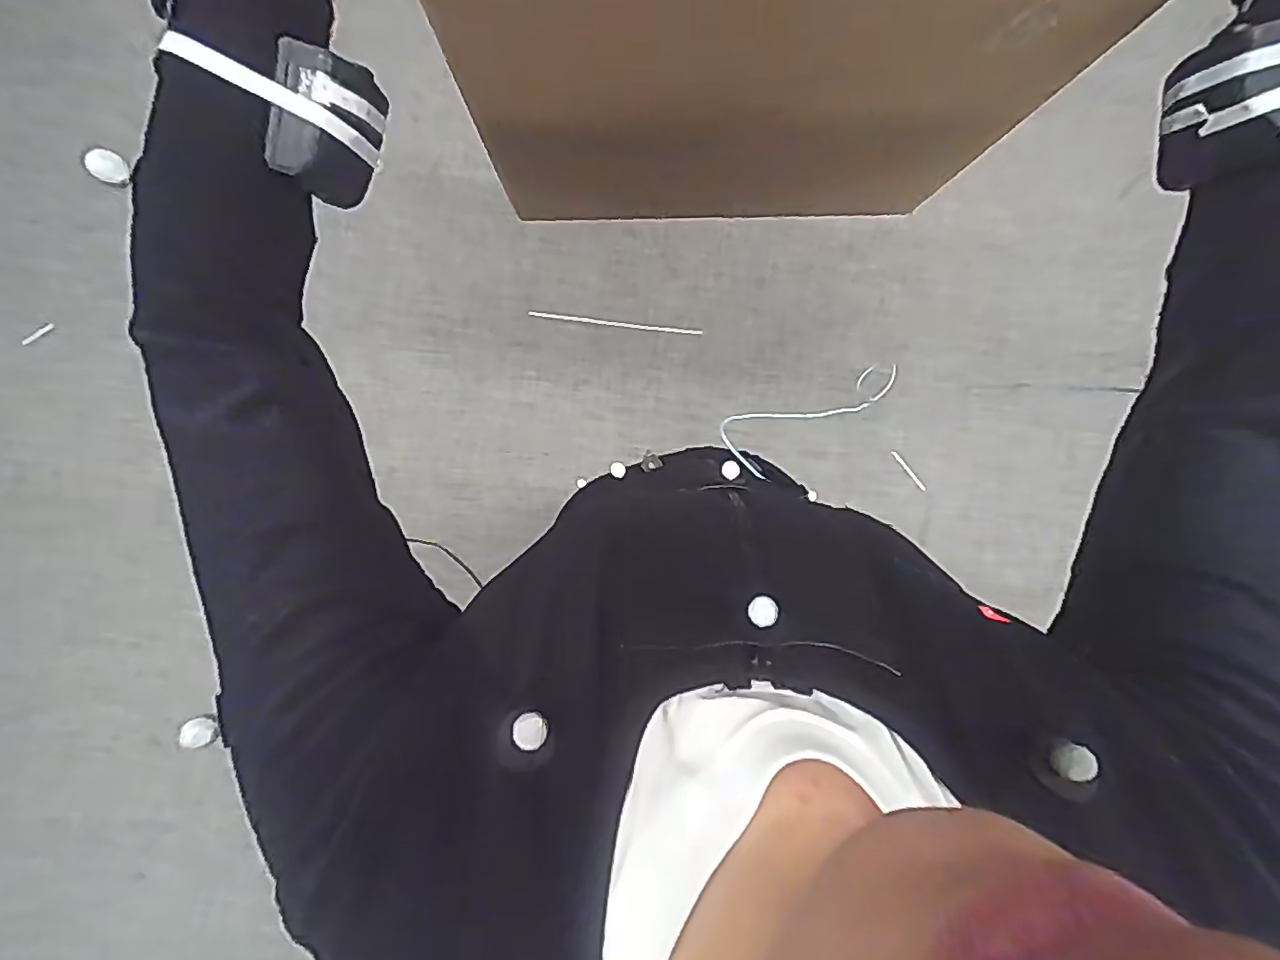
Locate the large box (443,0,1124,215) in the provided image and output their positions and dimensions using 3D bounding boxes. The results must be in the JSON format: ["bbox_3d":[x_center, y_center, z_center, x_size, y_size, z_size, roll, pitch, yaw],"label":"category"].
[{"bbox_3d":[0.075,-0.419,0.396,0.408,0.320,0.320,-2,93,-3],"label":"large box"}]
